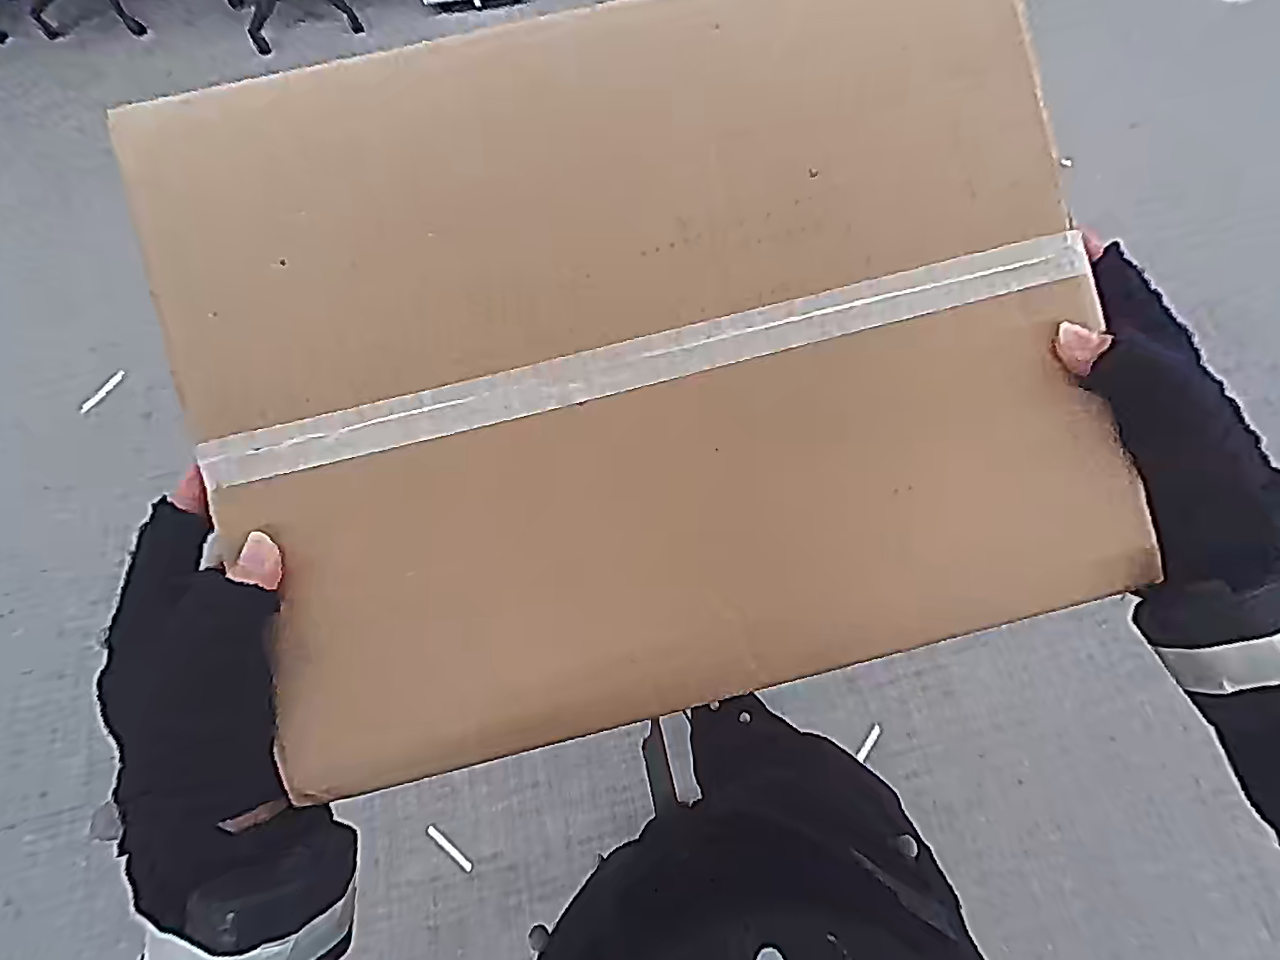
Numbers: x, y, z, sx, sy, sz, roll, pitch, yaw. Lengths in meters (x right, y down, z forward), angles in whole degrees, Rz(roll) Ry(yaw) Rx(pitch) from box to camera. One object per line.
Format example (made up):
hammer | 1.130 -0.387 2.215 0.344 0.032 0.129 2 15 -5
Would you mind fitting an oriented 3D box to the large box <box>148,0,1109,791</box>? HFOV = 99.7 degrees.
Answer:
large box | 0.000 -0.054 0.403 0.408 0.320 0.320 -14 90 -2
